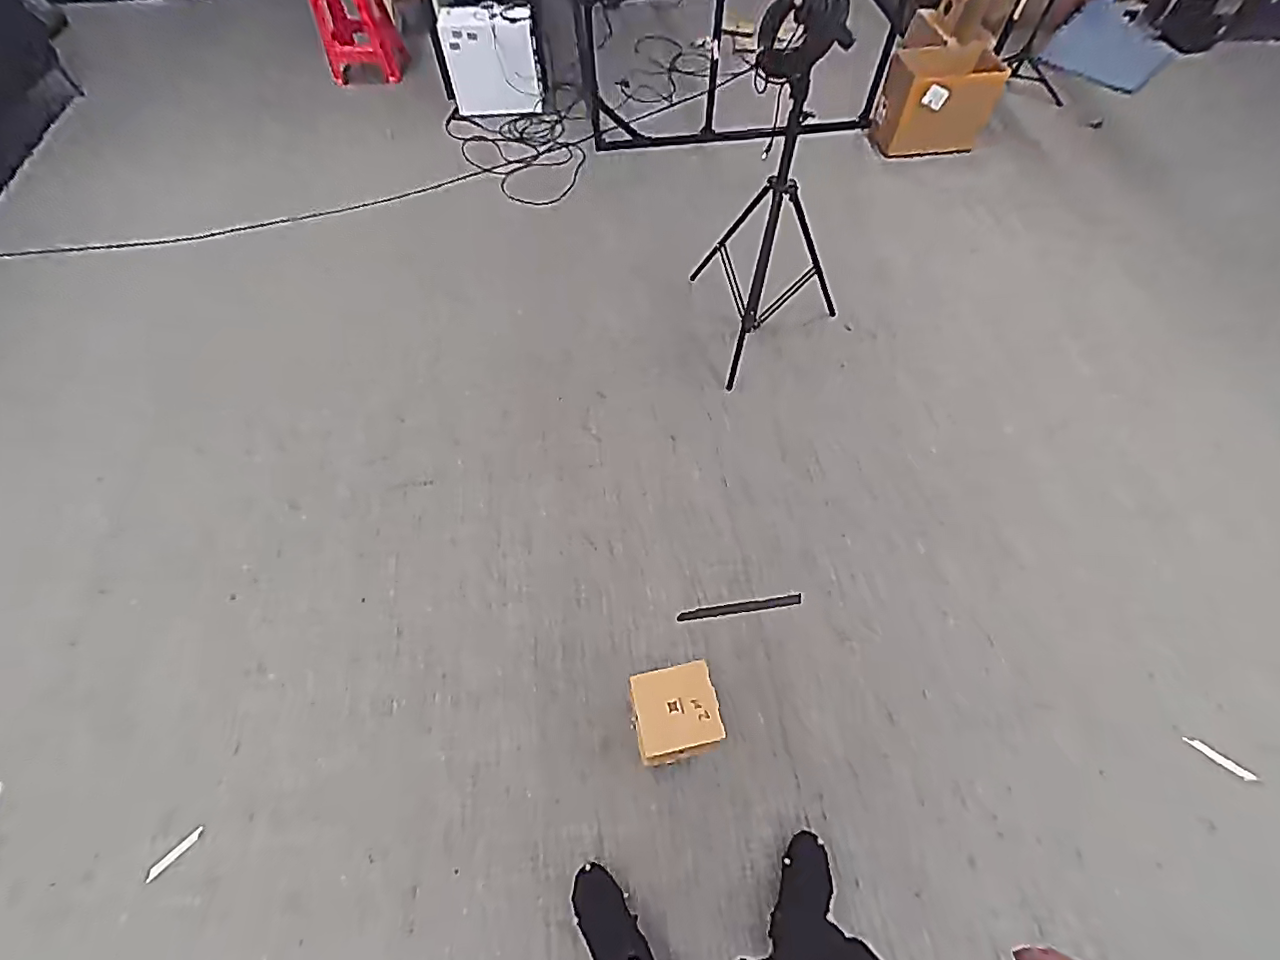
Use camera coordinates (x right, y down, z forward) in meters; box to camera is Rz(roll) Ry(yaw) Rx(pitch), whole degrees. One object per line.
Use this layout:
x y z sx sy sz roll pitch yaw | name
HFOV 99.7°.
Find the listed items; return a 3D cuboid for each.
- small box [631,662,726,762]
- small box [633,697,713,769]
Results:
0.084 0.526 1.217 0.179 0.176 0.168 -11 60 -4 | small box
0.075 0.613 1.357 0.168 0.176 0.179 -10 61 -4 | small box
